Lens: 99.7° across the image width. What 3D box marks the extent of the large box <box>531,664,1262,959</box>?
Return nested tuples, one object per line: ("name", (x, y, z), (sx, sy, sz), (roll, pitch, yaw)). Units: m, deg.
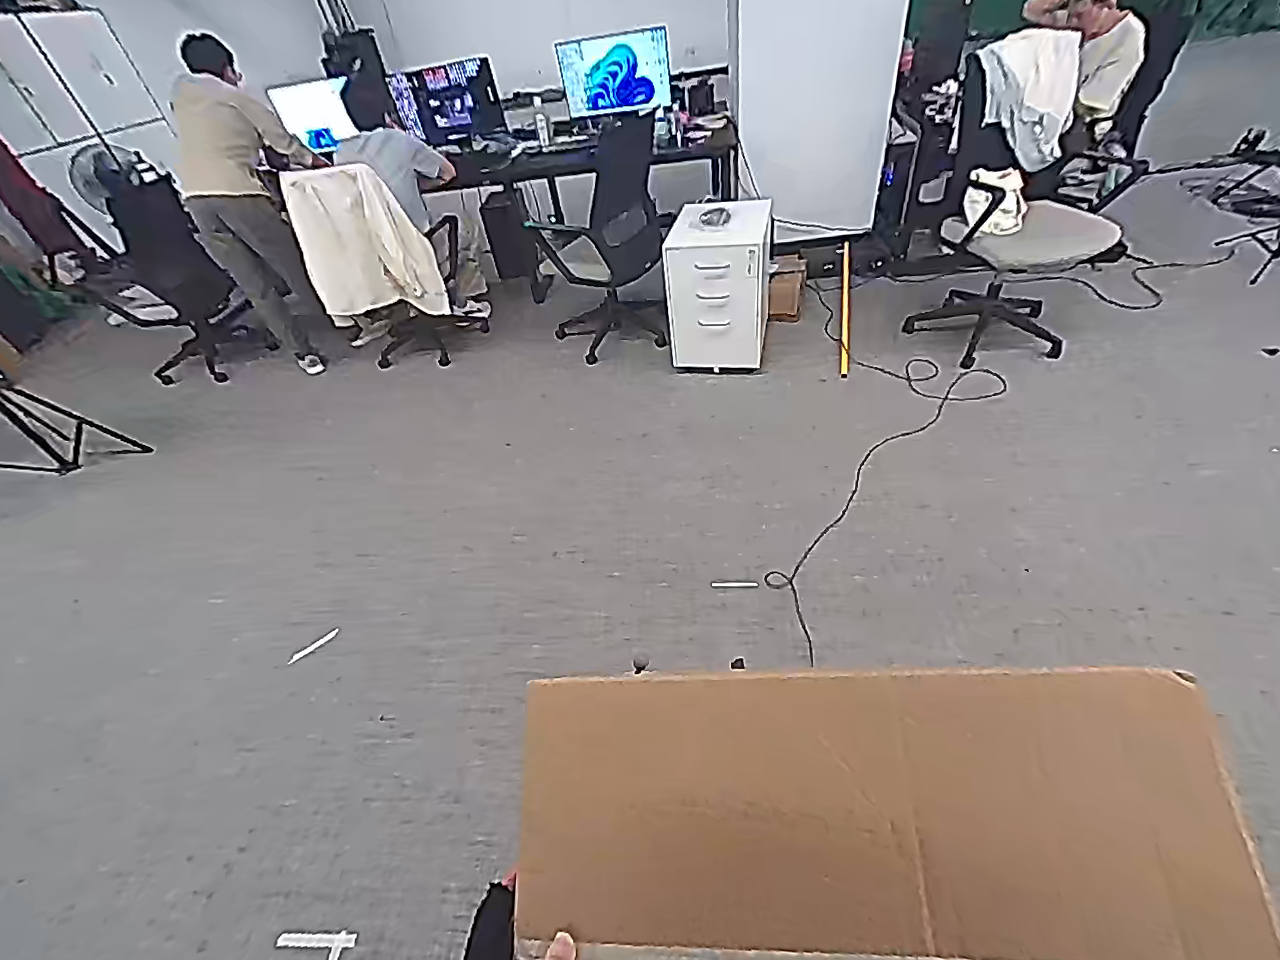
("large box", (0.151, 0.324, 0.445), (0.408, 0.320, 0.320), (-5, 71, 9))
